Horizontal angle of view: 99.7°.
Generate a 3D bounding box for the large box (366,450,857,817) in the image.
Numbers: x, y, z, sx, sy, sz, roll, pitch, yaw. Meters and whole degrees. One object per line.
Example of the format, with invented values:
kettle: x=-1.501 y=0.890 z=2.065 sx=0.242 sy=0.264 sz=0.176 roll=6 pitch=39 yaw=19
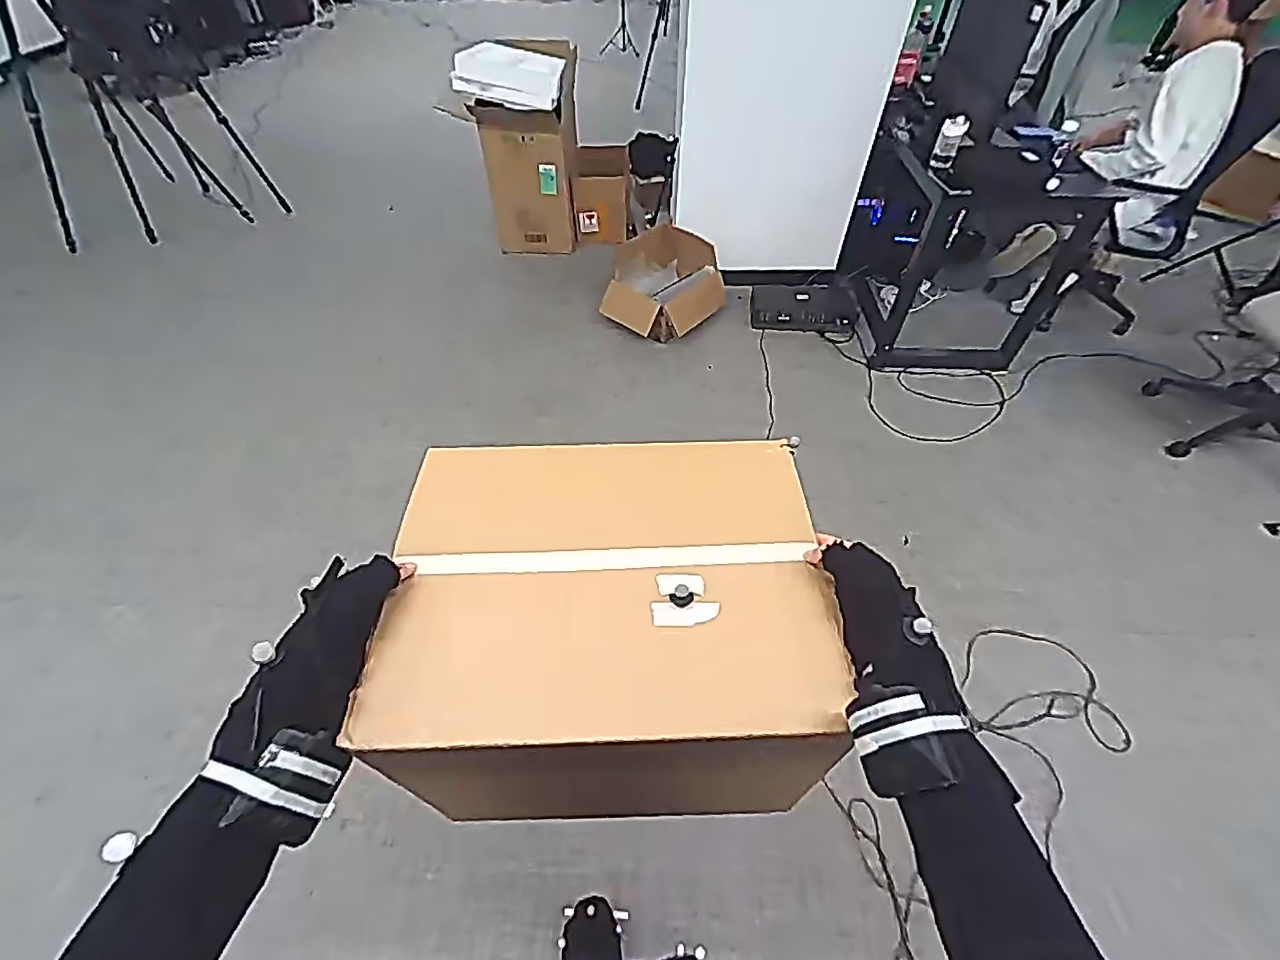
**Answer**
large box: x=-0.027 y=0.183 z=0.639 sx=0.408 sy=0.320 sz=0.320 roll=-1 pitch=49 yaw=-1
